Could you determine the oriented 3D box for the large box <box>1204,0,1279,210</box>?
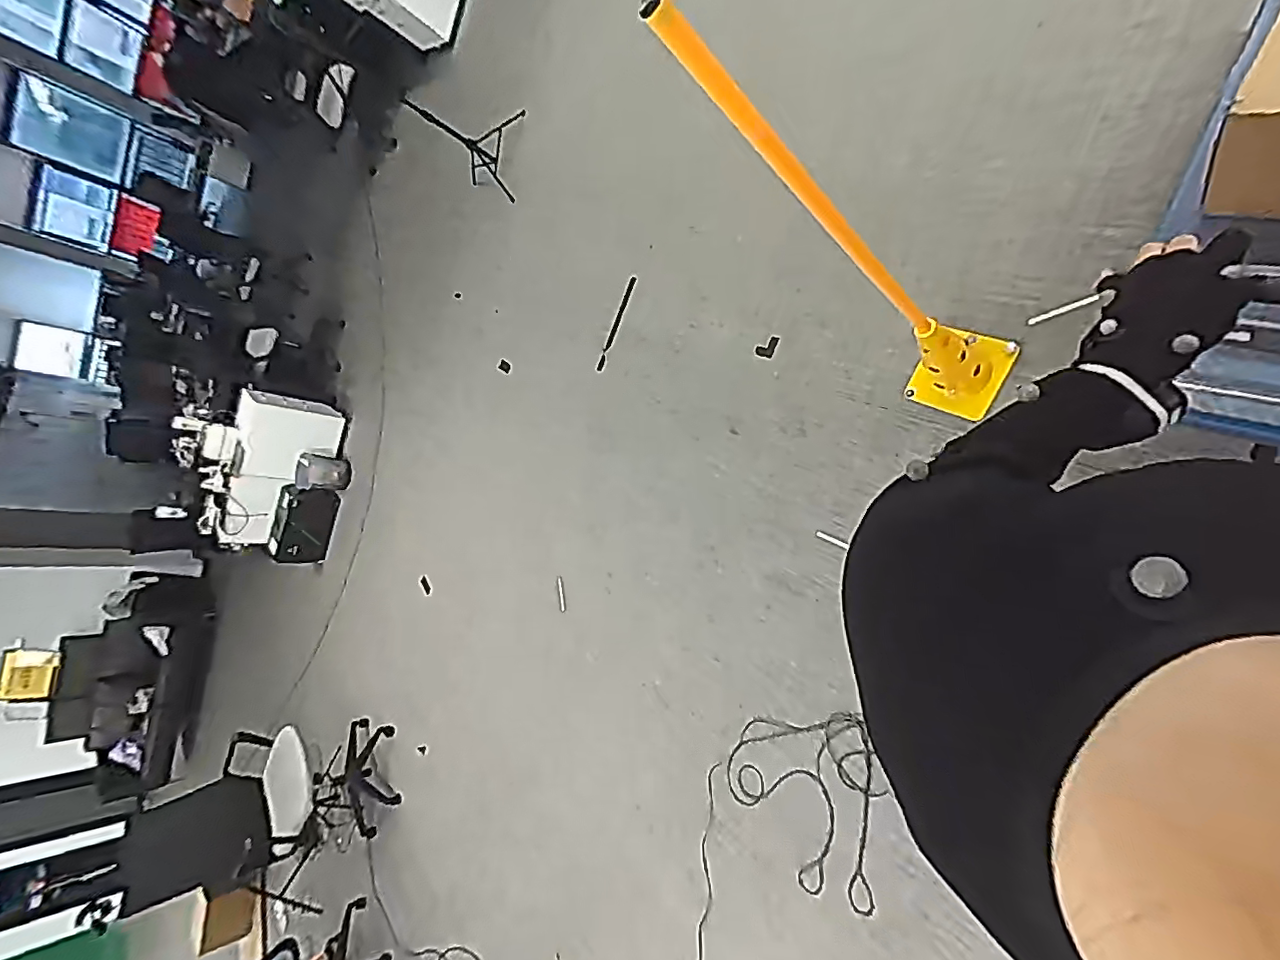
[{"bbox_3d":[1.096,-0.571,0.711,0.408,0.320,0.320,29,104,41],"label":"large box"}]
